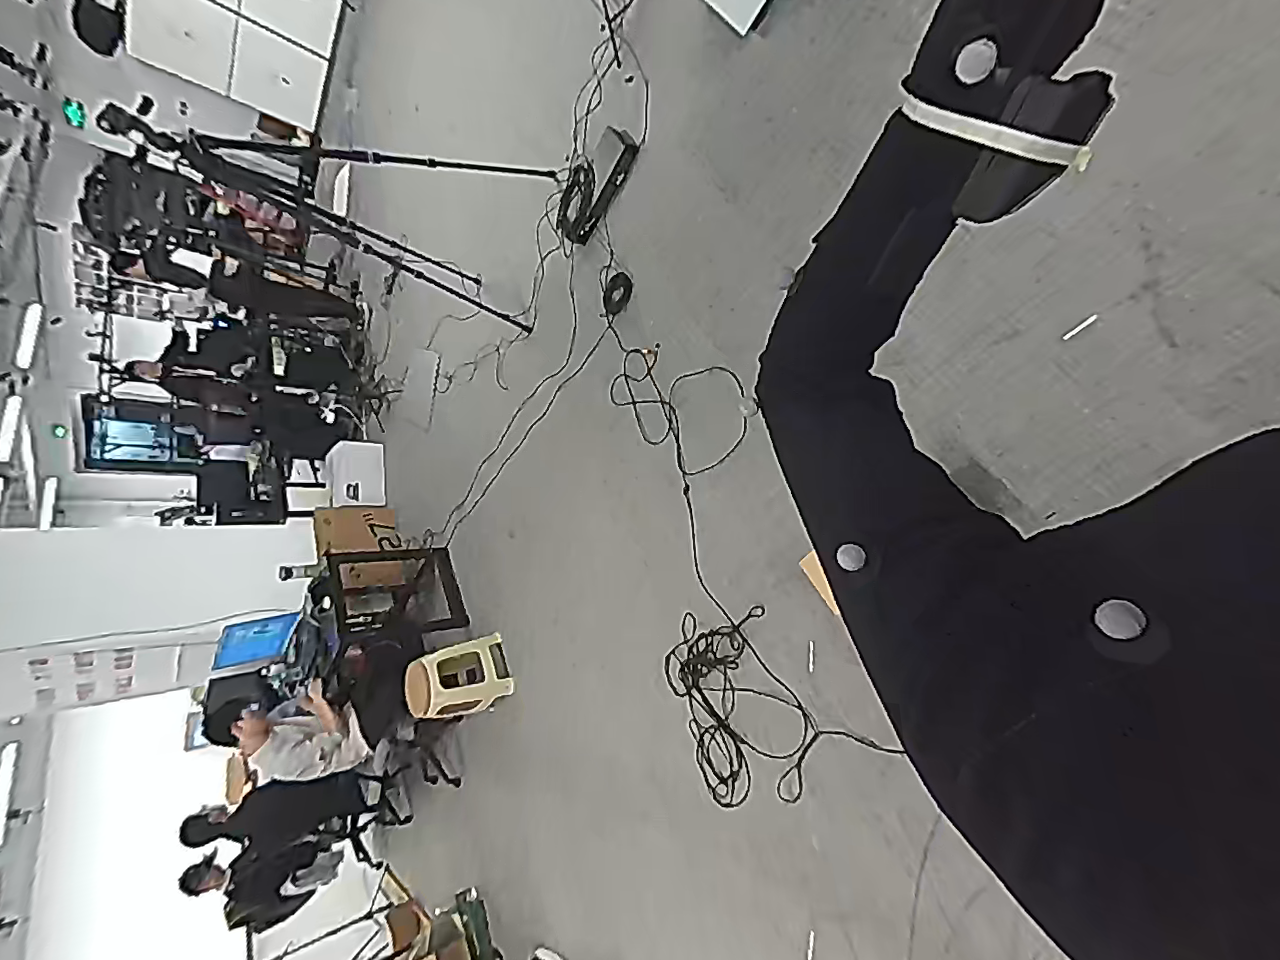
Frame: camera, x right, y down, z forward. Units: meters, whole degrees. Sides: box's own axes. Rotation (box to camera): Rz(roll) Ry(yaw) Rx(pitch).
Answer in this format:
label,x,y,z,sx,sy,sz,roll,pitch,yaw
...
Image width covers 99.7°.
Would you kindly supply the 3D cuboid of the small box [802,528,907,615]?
label,x,y,z,sx,sy,sz,roll,pitch,yaw
small box,0.592,0.243,1.486,0.168,0.176,0.179,-52,52,32
